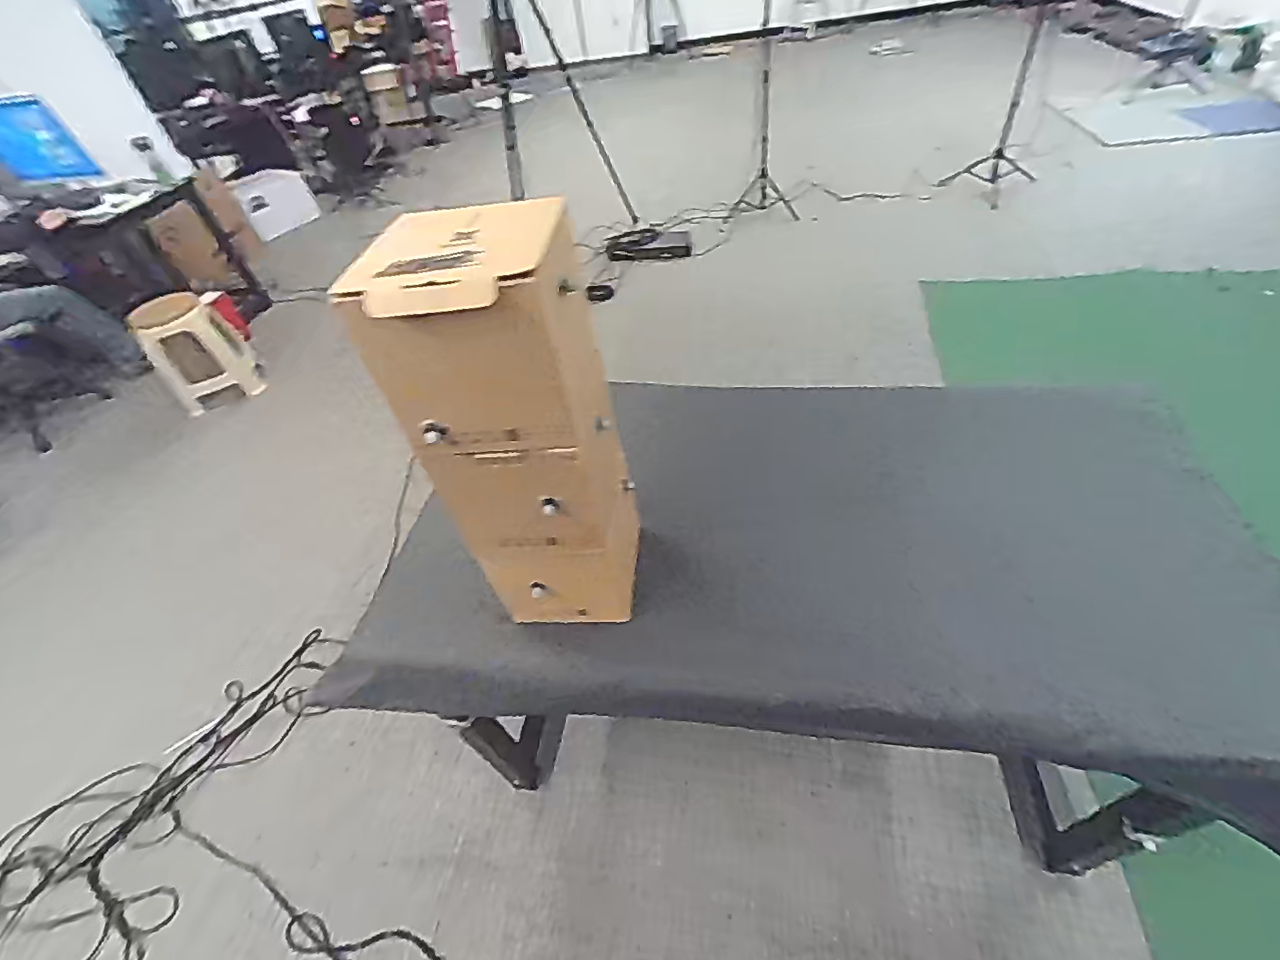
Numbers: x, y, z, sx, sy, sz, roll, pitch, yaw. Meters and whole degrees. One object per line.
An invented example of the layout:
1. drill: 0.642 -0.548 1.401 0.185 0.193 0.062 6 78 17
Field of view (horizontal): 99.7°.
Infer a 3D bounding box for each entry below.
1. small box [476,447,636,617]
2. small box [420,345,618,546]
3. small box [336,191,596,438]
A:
1. small box: -0.101 0.075 0.749 0.168 0.176 0.179 -1 46 8
2. small box: -0.122 -0.036 0.633 0.168 0.176 0.179 -1 45 6
3. small box: -0.140 -0.151 0.517 0.168 0.176 0.179 -2 45 6
